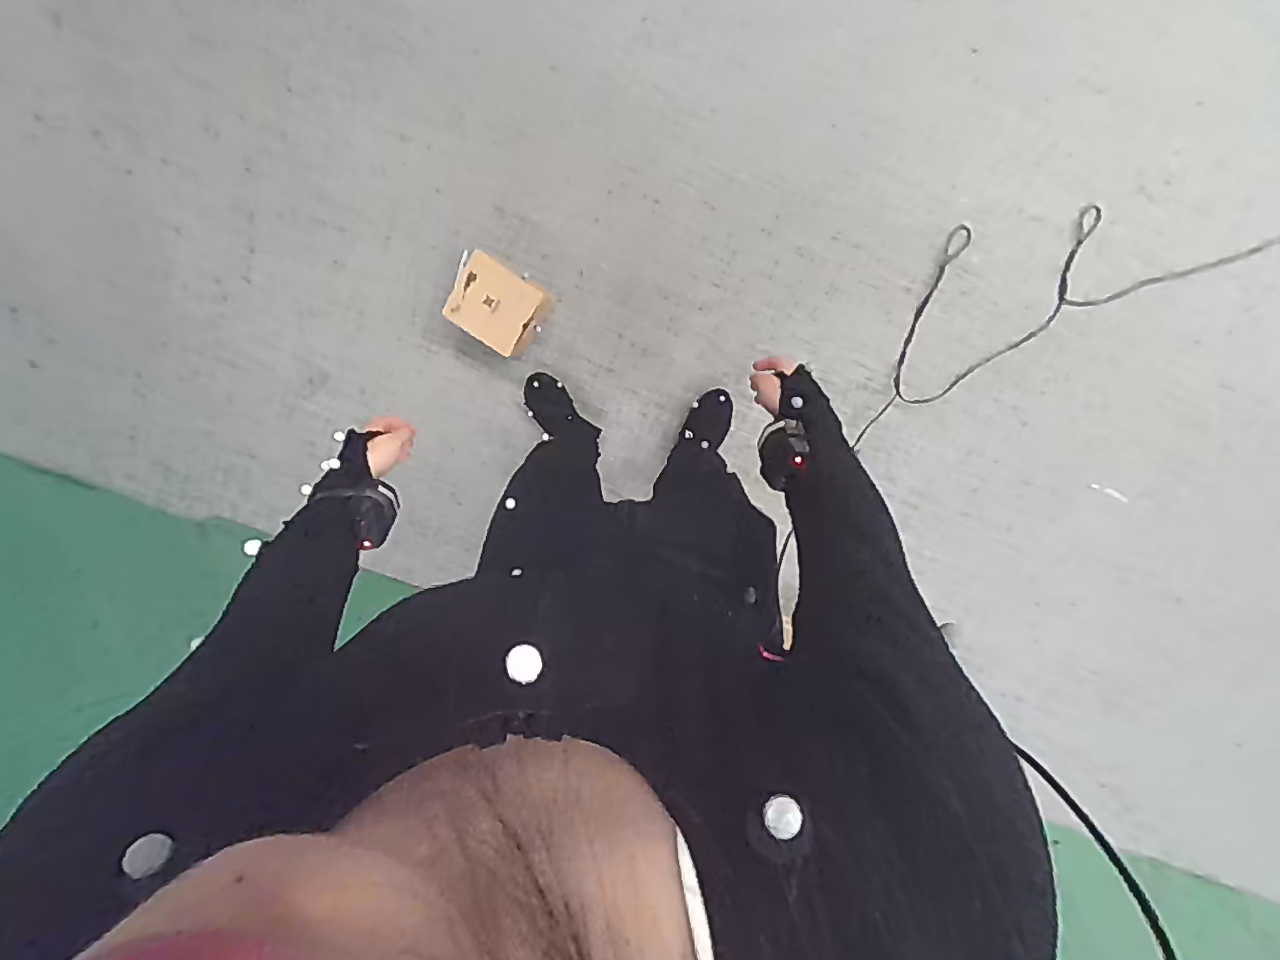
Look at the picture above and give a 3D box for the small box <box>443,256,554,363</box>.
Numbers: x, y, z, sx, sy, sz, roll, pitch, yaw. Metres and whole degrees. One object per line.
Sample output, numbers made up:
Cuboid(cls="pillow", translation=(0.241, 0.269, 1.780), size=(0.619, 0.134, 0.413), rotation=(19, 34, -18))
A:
Cuboid(cls="small box", translation=(-0.320, -0.397, 1.261), size=(0.179, 0.176, 0.168), rotation=(33, 105, -8))
